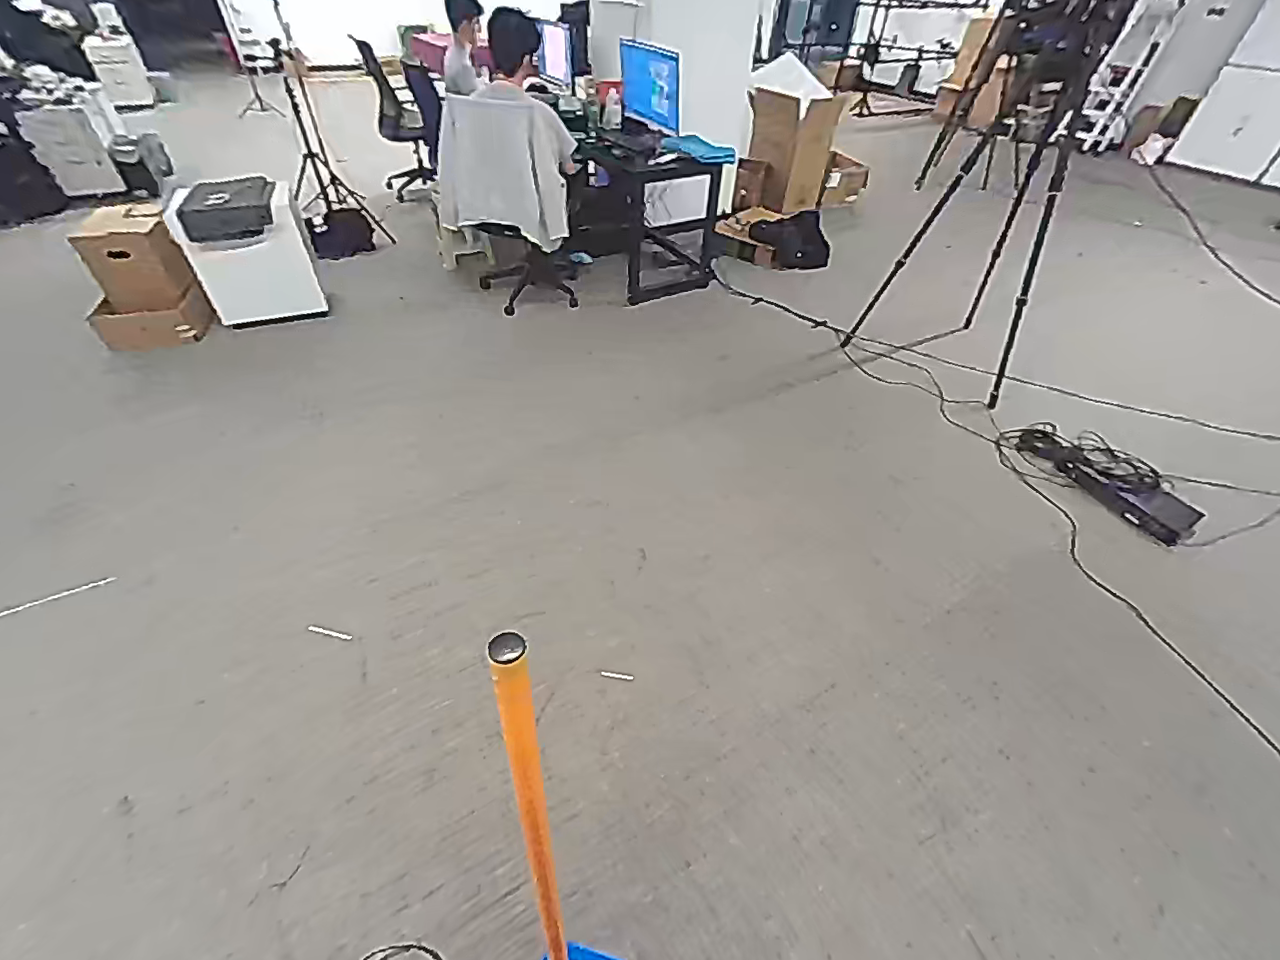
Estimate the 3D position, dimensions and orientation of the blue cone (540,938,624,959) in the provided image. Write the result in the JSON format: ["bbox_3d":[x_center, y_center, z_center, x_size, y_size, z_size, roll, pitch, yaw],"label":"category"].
[{"bbox_3d":[-0.120,0.914,0.950,0.192,0.380,0.193,12,43,9],"label":"blue cone"}]
